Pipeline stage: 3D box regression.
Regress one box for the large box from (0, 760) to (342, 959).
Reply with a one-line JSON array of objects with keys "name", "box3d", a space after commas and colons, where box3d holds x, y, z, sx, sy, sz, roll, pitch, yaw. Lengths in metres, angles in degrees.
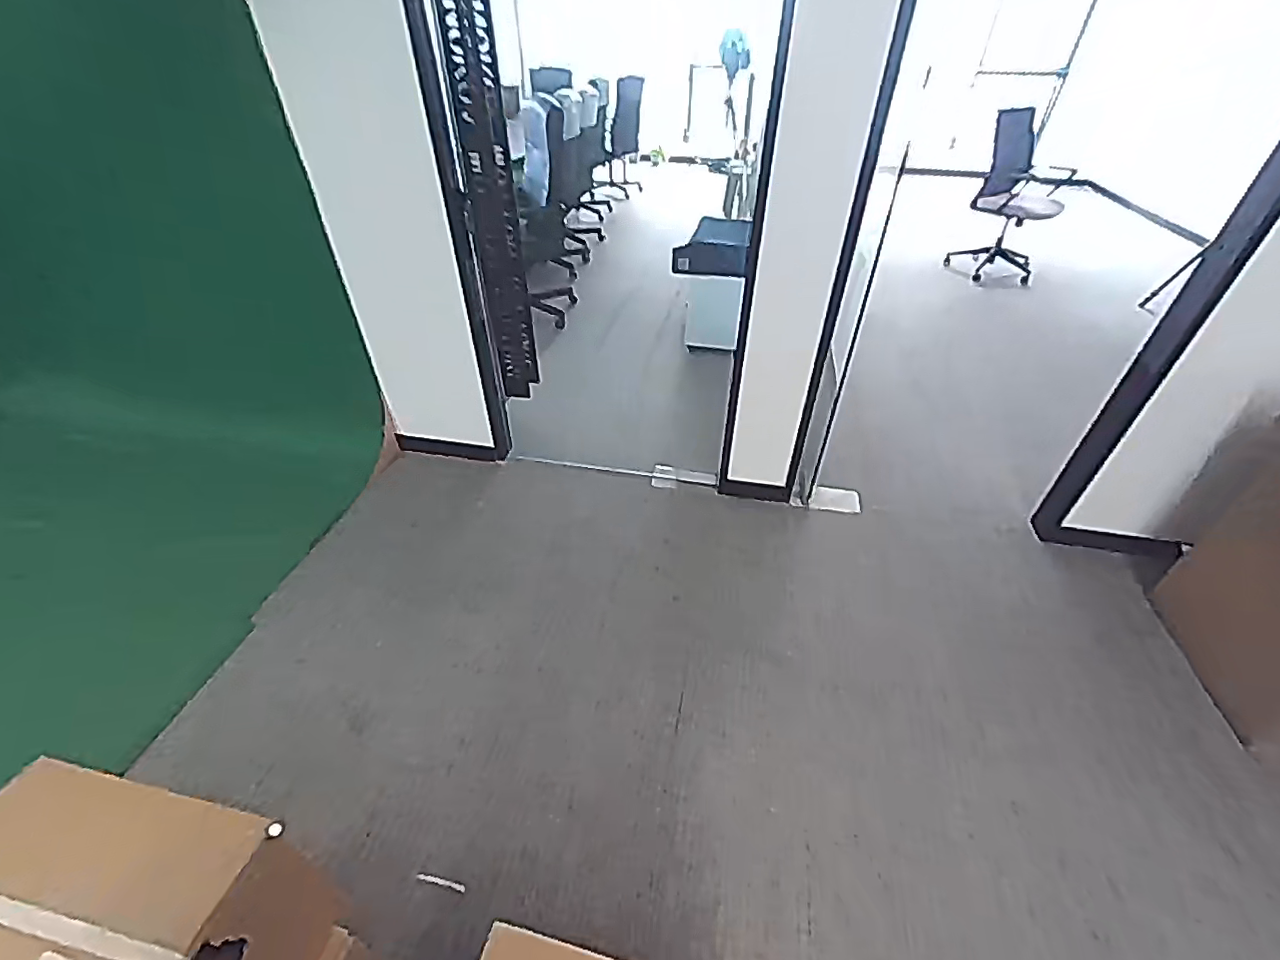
[{"name": "large box", "box3d": [-0.718, 0.649, 0.739, 0.408, 0.320, 0.320, 9, 37, 8]}]
